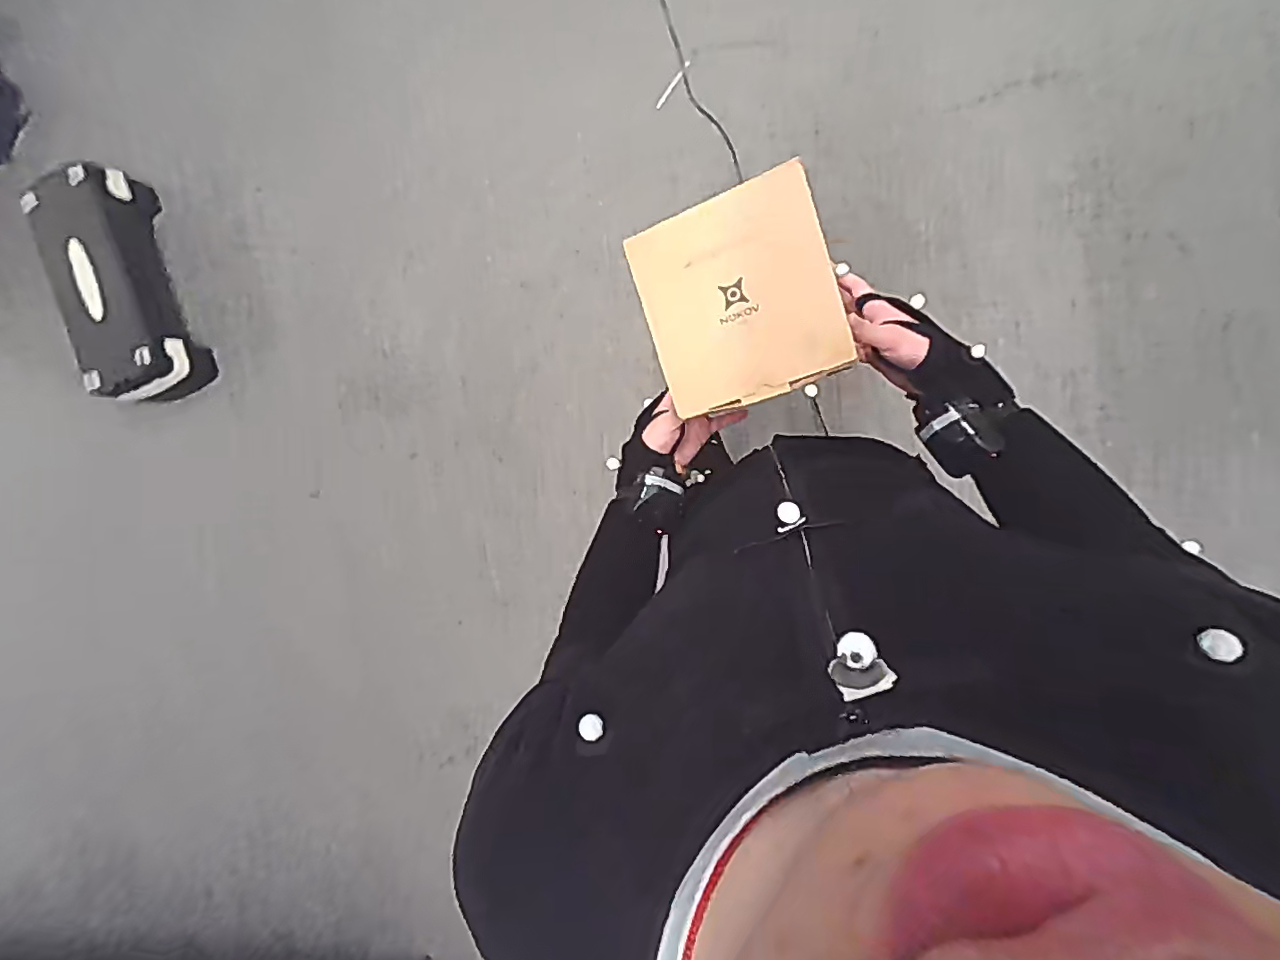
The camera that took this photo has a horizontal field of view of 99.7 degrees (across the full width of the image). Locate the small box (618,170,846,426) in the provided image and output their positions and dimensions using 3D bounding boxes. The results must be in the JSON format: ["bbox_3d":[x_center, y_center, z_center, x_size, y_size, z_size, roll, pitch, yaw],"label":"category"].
[{"bbox_3d":[0.104,-0.166,0.547,0.168,0.176,0.179,-16,93,21],"label":"small box"}]
